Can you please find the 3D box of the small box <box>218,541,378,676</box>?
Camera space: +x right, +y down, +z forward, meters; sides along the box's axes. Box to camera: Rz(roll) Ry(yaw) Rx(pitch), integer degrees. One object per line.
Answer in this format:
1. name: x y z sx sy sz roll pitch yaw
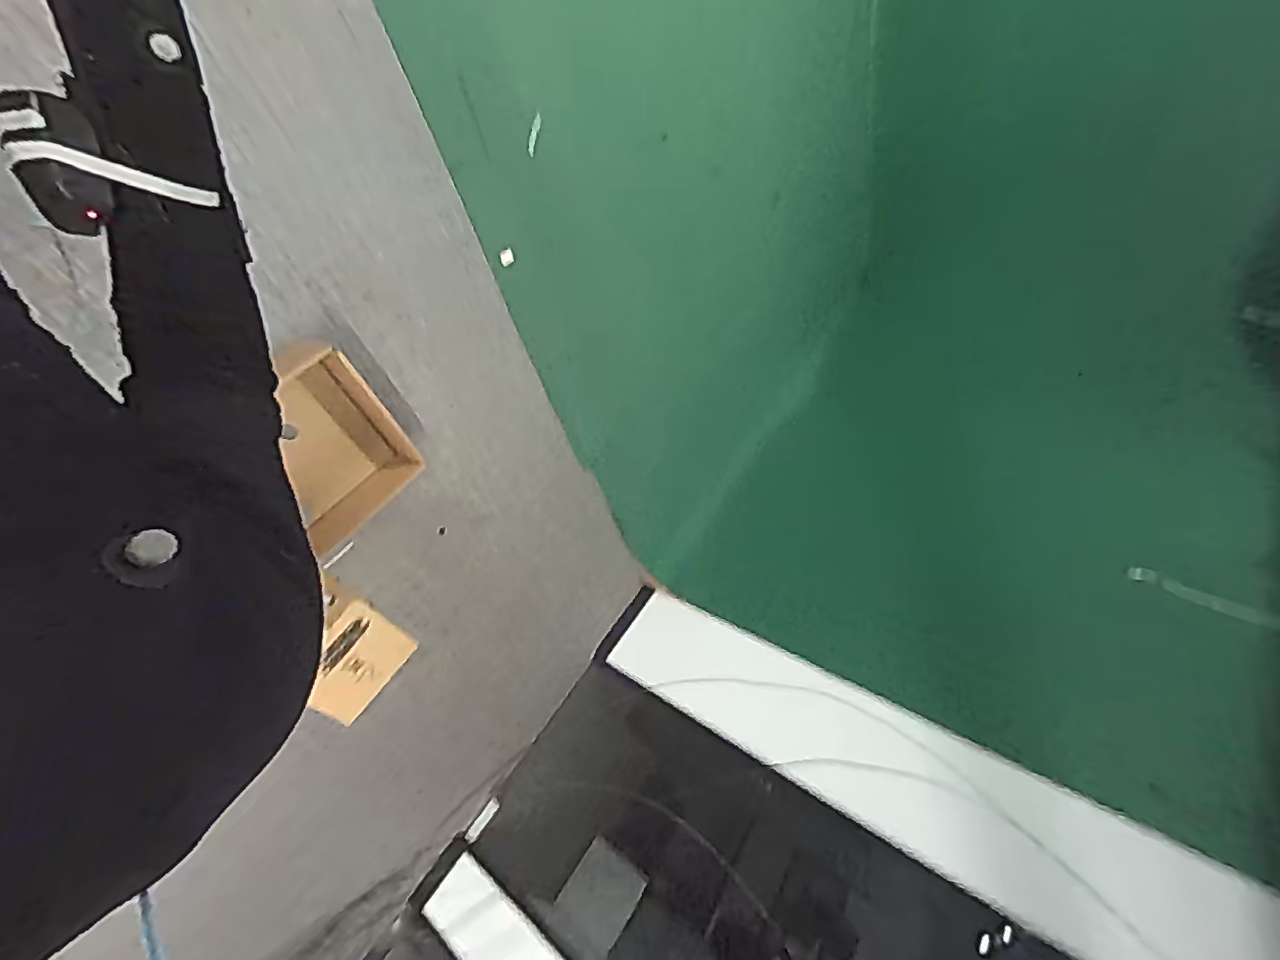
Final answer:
1. small box: -0.664 0.240 1.051 0.168 0.176 0.179 -50 141 -27
